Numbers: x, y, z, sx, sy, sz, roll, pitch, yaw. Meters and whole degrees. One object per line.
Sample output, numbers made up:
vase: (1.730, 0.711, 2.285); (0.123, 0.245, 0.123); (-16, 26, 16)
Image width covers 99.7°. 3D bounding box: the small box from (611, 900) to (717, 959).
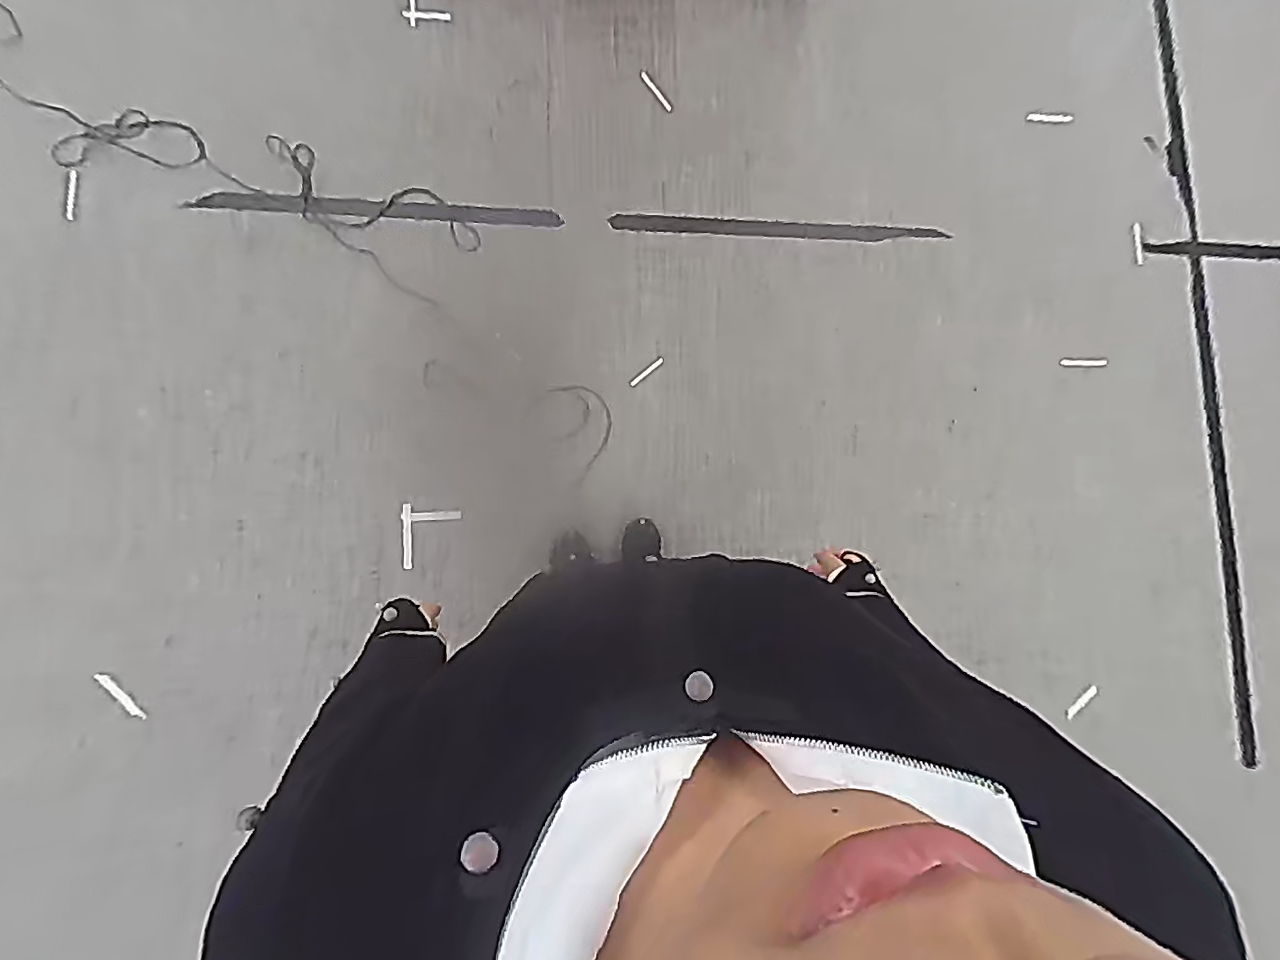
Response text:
small box: (0.039, 0.831, 0.875); (0.168, 0.176, 0.179); (-1, 82, -7)
